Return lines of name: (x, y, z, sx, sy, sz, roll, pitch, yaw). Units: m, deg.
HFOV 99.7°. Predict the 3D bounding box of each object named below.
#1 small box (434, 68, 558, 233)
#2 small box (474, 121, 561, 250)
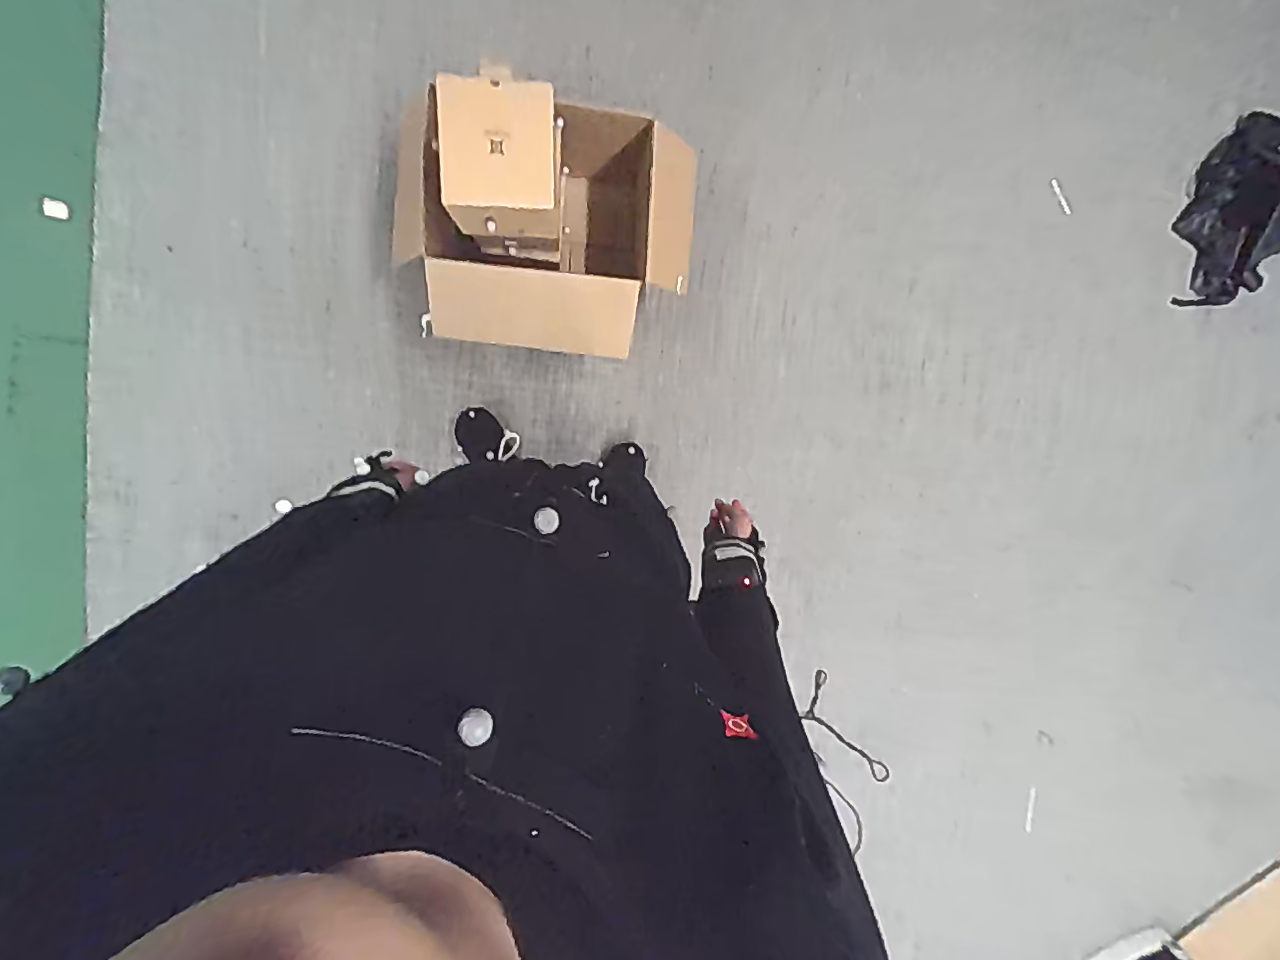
small box: (-0.217, -0.504, 0.855, 0.168, 0.176, 0.179, -1, 99, -7)
small box: (-0.233, -0.548, 1.011, 0.168, 0.176, 0.179, 1, 100, -8)
